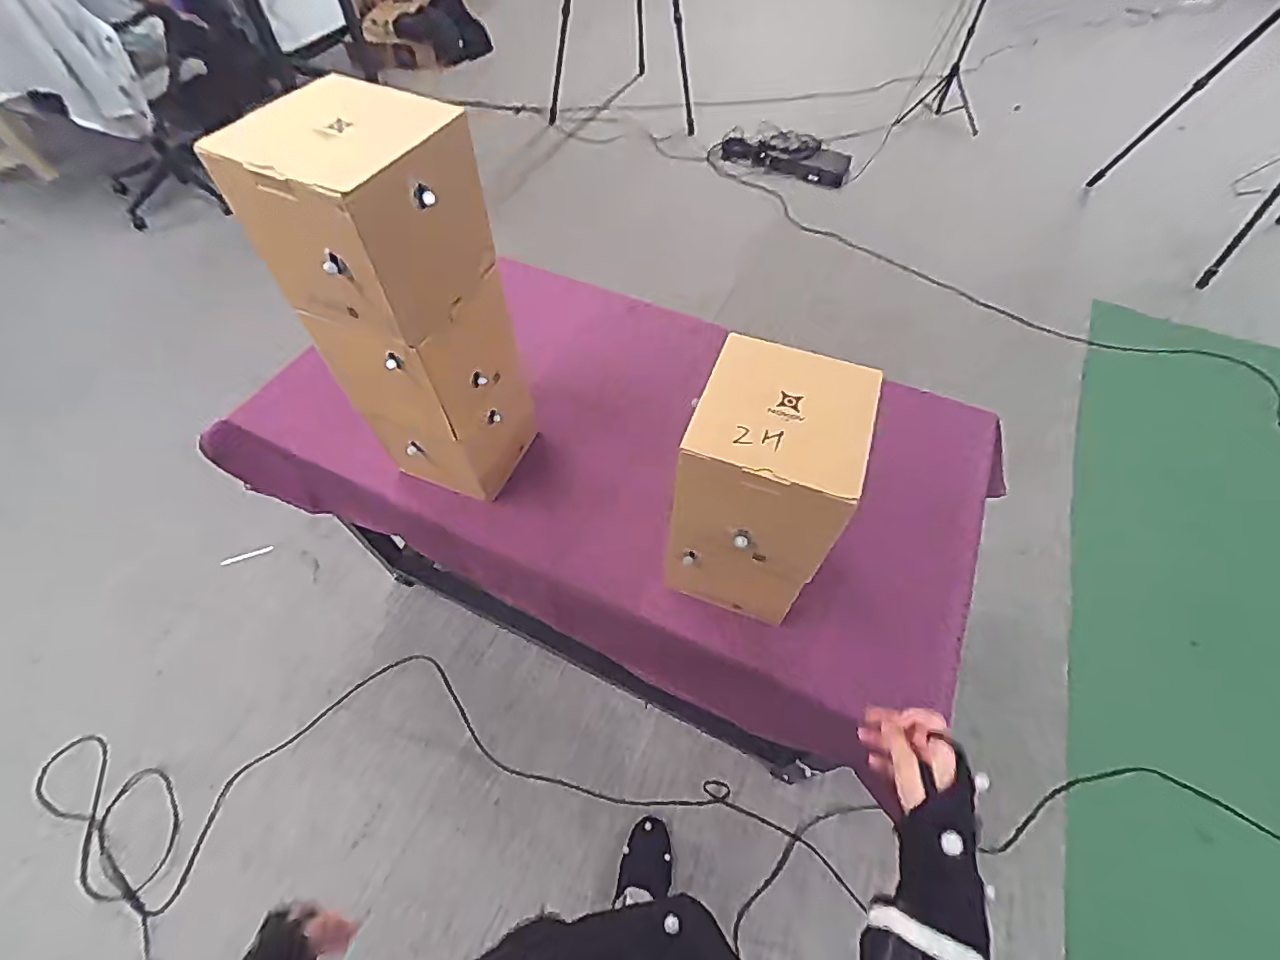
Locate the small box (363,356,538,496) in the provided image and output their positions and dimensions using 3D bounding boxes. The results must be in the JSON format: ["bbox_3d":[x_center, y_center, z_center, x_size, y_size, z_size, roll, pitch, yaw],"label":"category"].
[{"bbox_3d":[-0.280,-0.099,0.837,0.179,0.176,0.168,20,59,13],"label":"small box"}]

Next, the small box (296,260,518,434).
[{"bbox_3d":[-0.282,-0.186,0.699,0.179,0.176,0.168,20,58,11],"label":"small box"}]

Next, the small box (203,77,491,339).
[{"bbox_3d":[-0.278,-0.278,0.565,0.168,0.176,0.179,23,58,12],"label":"small box"}]

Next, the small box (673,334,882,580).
[{"bbox_3d":[0.139,-0.022,0.588,0.168,0.176,0.179,19,58,12],"label":"small box"}]
